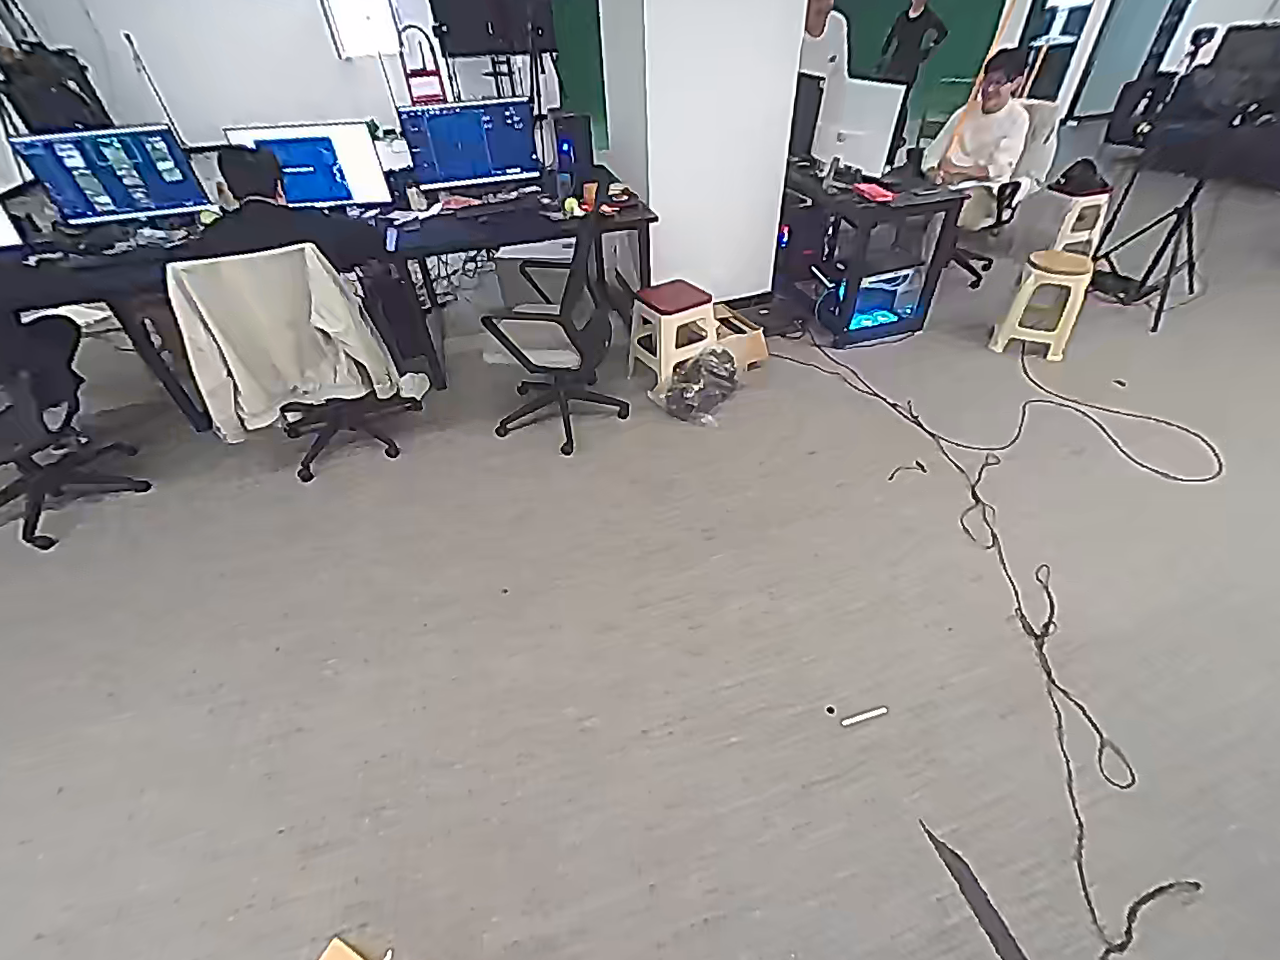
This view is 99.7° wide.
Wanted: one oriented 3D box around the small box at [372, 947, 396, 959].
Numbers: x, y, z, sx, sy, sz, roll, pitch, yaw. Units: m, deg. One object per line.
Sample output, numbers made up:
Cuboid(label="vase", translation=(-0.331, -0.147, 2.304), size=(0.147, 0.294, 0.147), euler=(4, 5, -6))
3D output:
Cuboid(label="small box", translation=(-0.483, 1.045, 1.025), size=(0.179, 0.176, 0.168), euler=(17, 45, 22))

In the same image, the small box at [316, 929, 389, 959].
Cuboid(label="small box", translation=(-0.489, 0.921, 0.918), size=(0.179, 0.176, 0.168), euler=(18, 45, 20))
